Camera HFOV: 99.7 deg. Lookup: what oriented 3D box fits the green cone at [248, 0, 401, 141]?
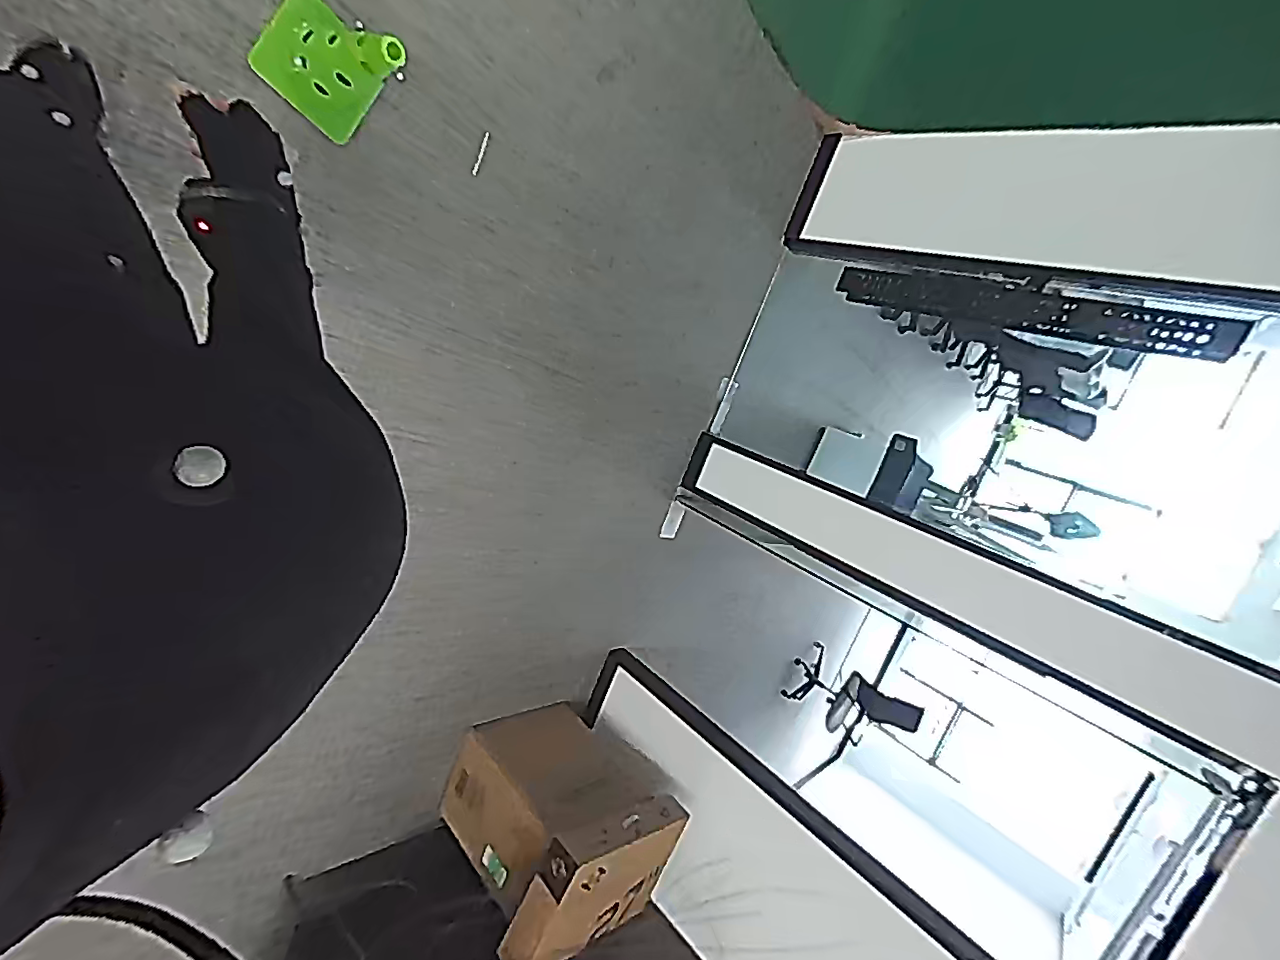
[{"bbox_3d":[-0.541,-0.788,1.007,0.200,0.368,0.202,33,87,-52],"label":"green cone"}]
